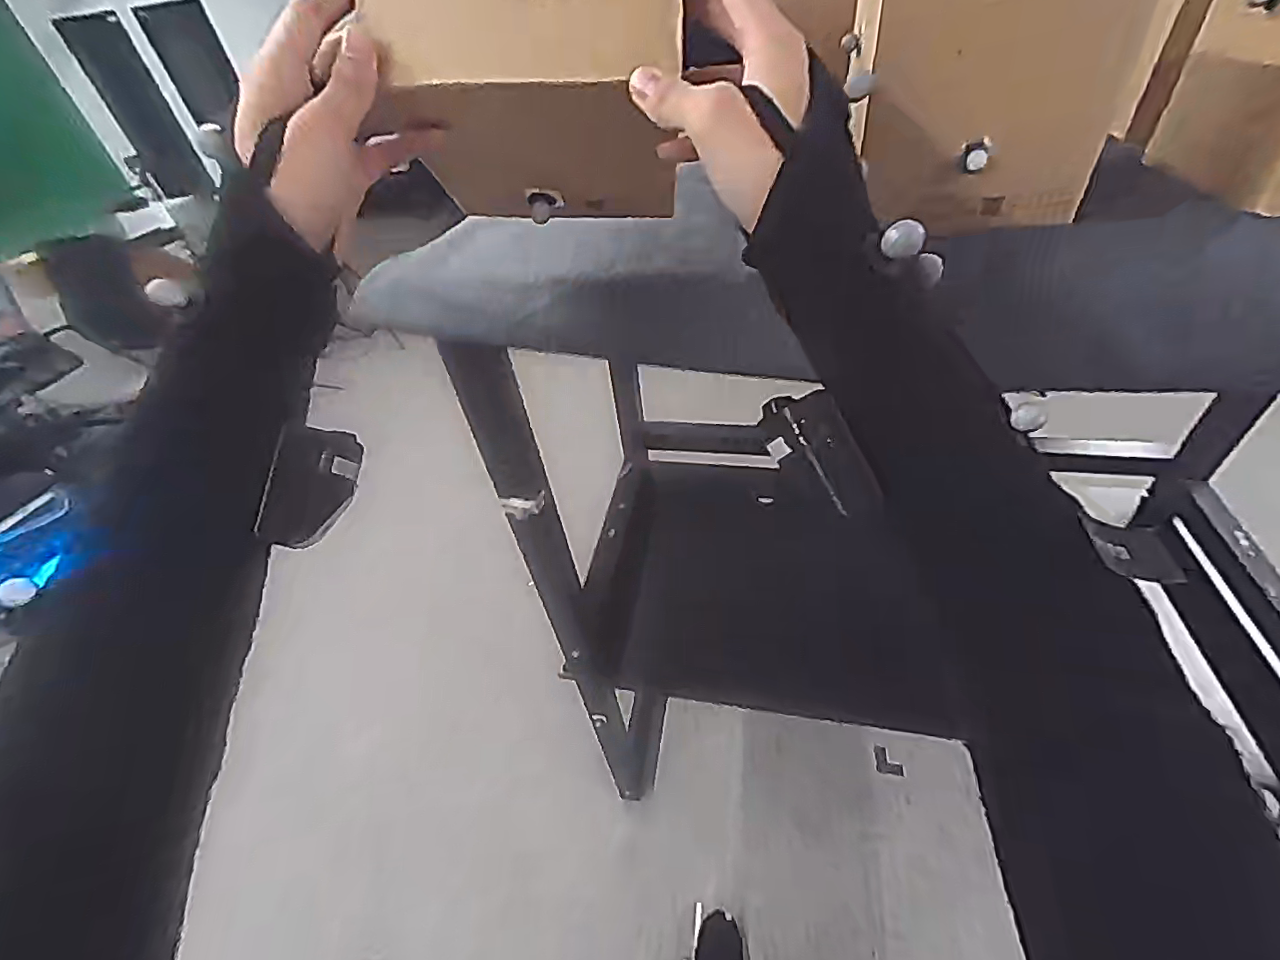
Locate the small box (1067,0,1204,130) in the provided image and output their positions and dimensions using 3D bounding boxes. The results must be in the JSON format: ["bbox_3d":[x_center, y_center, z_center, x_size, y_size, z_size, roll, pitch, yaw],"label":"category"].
[{"bbox_3d":[0.600,-0.482,0.570,0.168,0.176,0.179,3,42,12],"label":"small box"}]

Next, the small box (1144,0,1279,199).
[{"bbox_3d":[0.534,-0.312,0.392,0.168,0.176,0.179,3,41,13],"label":"small box"}]

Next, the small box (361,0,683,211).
[{"bbox_3d":[-0.056,-0.302,0.352,0.168,0.179,0.176,1,3,3],"label":"small box"}]
